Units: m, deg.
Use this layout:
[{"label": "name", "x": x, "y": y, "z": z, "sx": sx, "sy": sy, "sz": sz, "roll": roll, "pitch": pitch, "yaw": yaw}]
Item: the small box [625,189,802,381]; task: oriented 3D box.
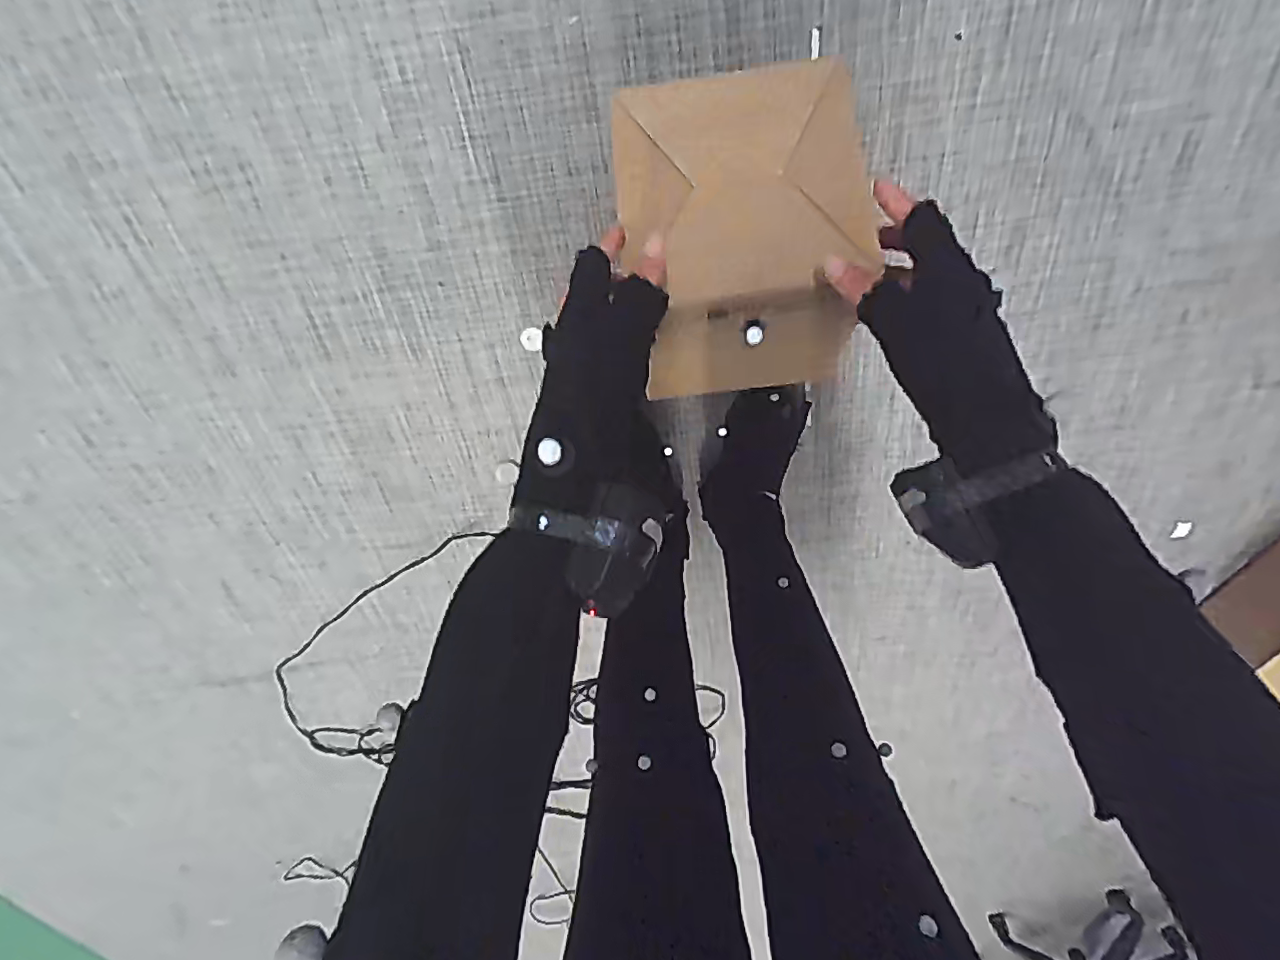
[{"label": "small box", "x": 0.084, "y": -0.237, "z": 0.645, "sx": 0.179, "sy": 0.176, "sz": 0.168, "roll": -9, "pitch": 121, "yaw": 7}]
